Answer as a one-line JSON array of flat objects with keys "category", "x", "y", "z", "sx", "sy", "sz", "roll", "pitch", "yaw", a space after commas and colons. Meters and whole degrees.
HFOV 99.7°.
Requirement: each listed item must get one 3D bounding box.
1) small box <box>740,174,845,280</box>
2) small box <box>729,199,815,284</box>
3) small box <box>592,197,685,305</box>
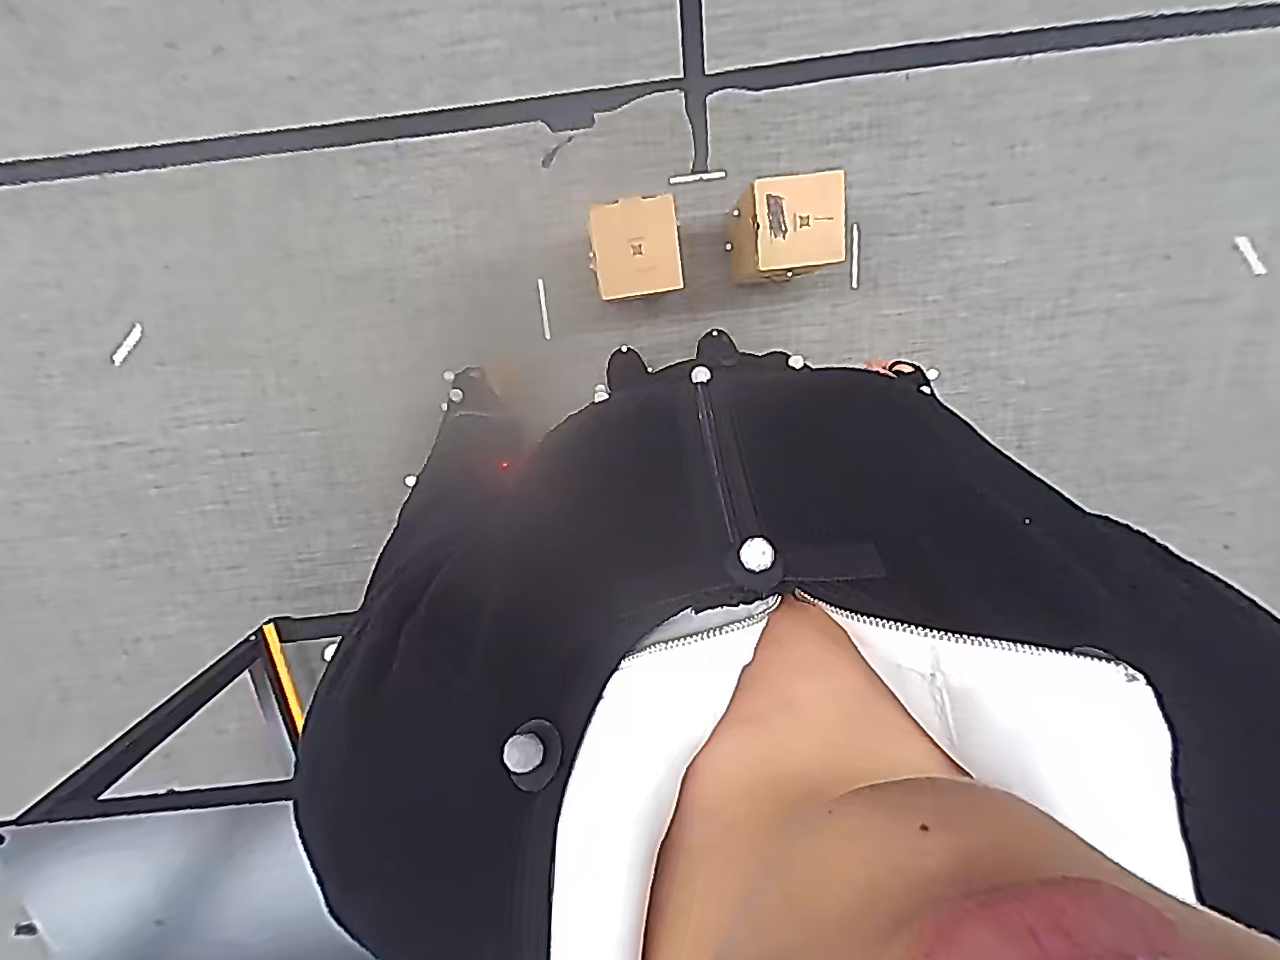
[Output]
[{"category": "small box", "x": 0.308, "y": -0.516, "z": 1.122, "sx": 0.179, "sy": 0.176, "sz": 0.168, "roll": -6, "pitch": 106, "yaw": -1}, {"category": "small box", "x": 0.310, "y": -0.561, "z": 1.281, "sx": 0.168, "sy": 0.176, "sz": 0.179, "roll": -5, "pitch": 107, "yaw": -1}, {"category": "small box", "x": -0.003, "y": -0.469, "z": 1.132, "sx": 0.168, "sy": 0.176, "sz": 0.179, "roll": -8, "pitch": 107, "yaw": 3}]
